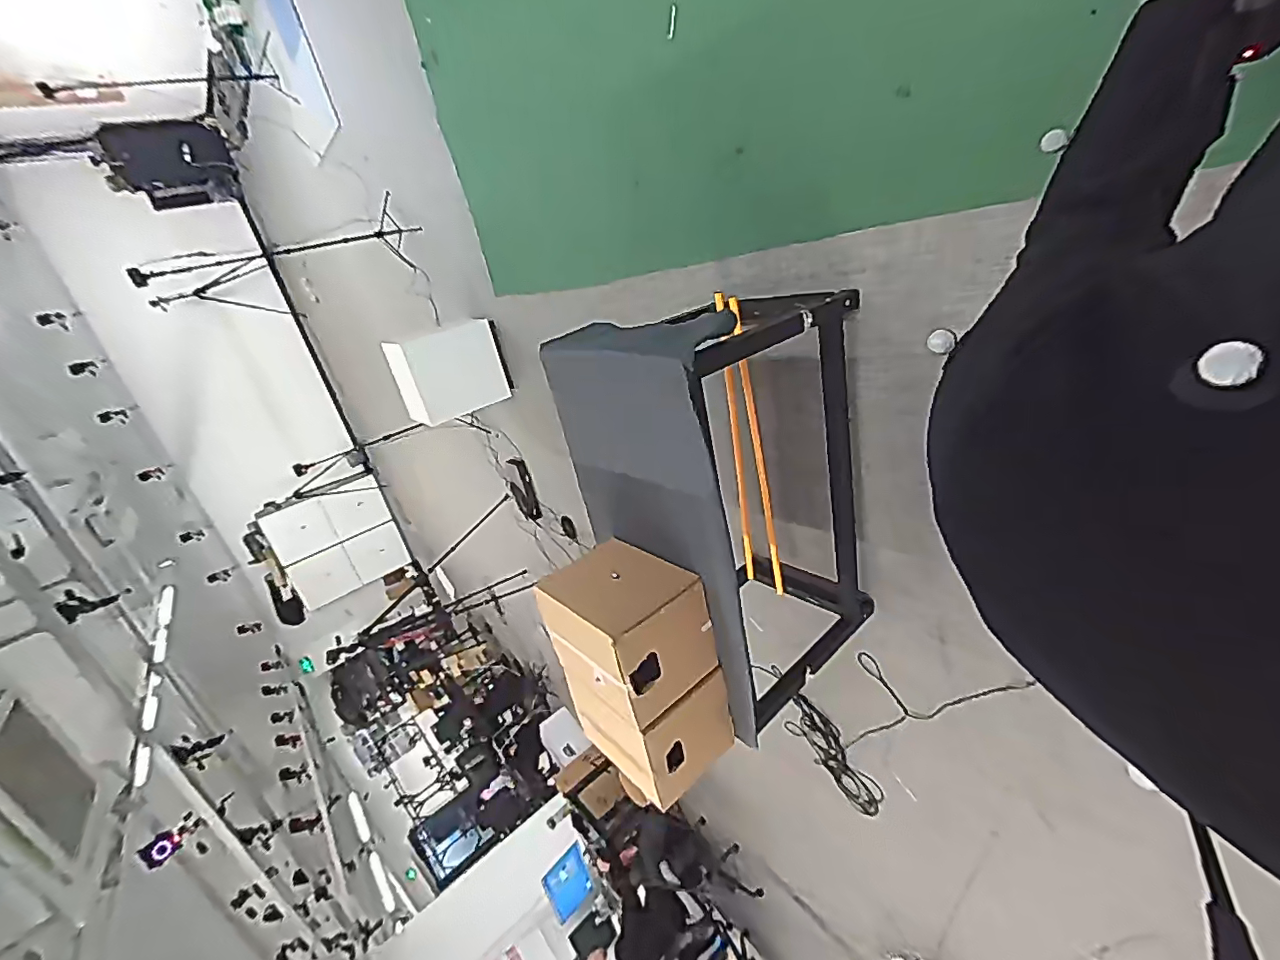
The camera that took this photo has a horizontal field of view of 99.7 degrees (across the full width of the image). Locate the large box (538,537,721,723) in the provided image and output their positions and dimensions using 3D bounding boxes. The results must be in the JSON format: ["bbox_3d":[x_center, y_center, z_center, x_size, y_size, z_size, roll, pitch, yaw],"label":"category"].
[{"bbox_3d":[-0.033,0.402,1.567,0.408,0.320,0.320,14,126,49],"label":"large box"}]
